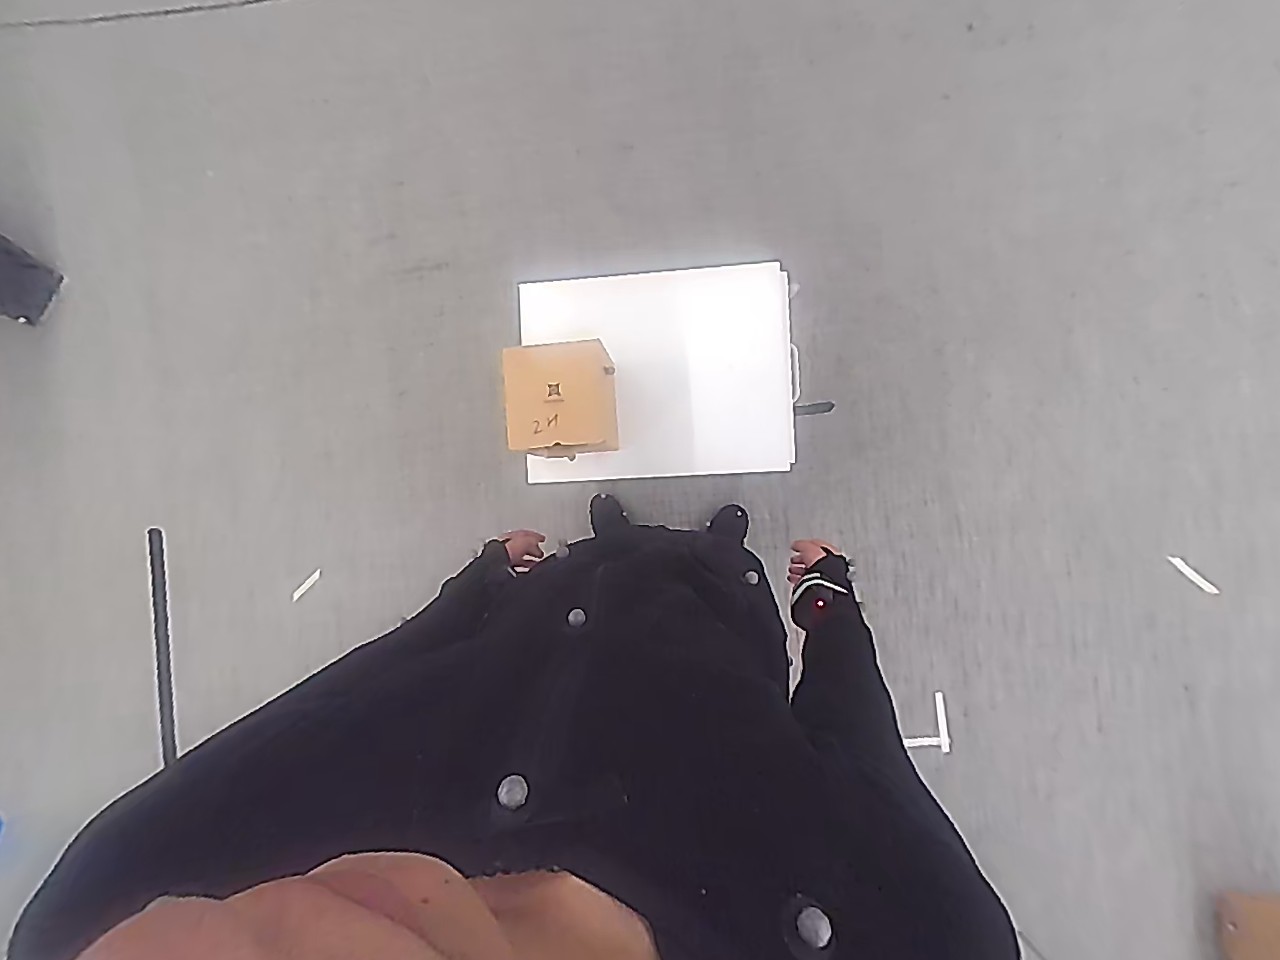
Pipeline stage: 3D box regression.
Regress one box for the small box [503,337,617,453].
[{"bbox_3d":[-0.136,-0.143,0.966,0.168,0.176,0.179,-3,90,6],"label":"small box"}]
